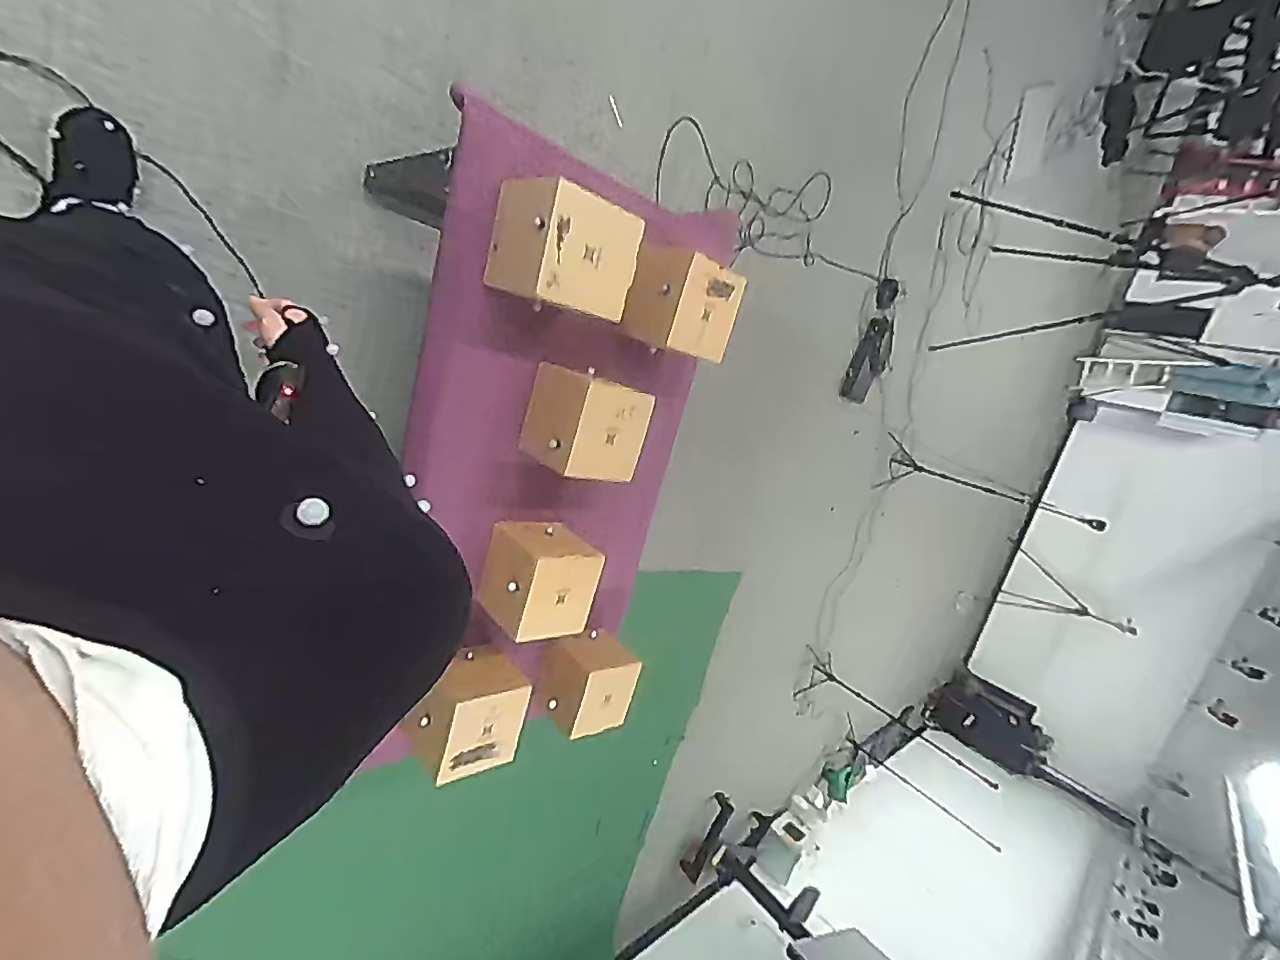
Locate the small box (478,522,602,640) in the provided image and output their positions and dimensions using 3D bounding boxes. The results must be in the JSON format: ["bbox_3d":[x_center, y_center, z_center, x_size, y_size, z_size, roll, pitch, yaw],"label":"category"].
[{"bbox_3d":[-0.210,0.200,1.105,0.168,0.176,0.179,6,104,-45],"label":"small box"}]

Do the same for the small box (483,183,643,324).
[{"bbox_3d":[-0.129,-0.370,0.890,0.179,0.176,0.168,2,108,-46],"label":"small box"}]

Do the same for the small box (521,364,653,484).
[{"bbox_3d":[-0.109,-0.108,1.044,0.168,0.176,0.179,6,106,-45],"label":"small box"}]

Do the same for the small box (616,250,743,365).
[{"bbox_3d":[0.074,-0.351,1.097,0.168,0.176,0.179,5,107,-45],"label":"small box"}]

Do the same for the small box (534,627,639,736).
[{"bbox_3d":[-0.136,0.480,1.312,0.168,0.176,0.179,8,103,-44],"label":"small box"}]
